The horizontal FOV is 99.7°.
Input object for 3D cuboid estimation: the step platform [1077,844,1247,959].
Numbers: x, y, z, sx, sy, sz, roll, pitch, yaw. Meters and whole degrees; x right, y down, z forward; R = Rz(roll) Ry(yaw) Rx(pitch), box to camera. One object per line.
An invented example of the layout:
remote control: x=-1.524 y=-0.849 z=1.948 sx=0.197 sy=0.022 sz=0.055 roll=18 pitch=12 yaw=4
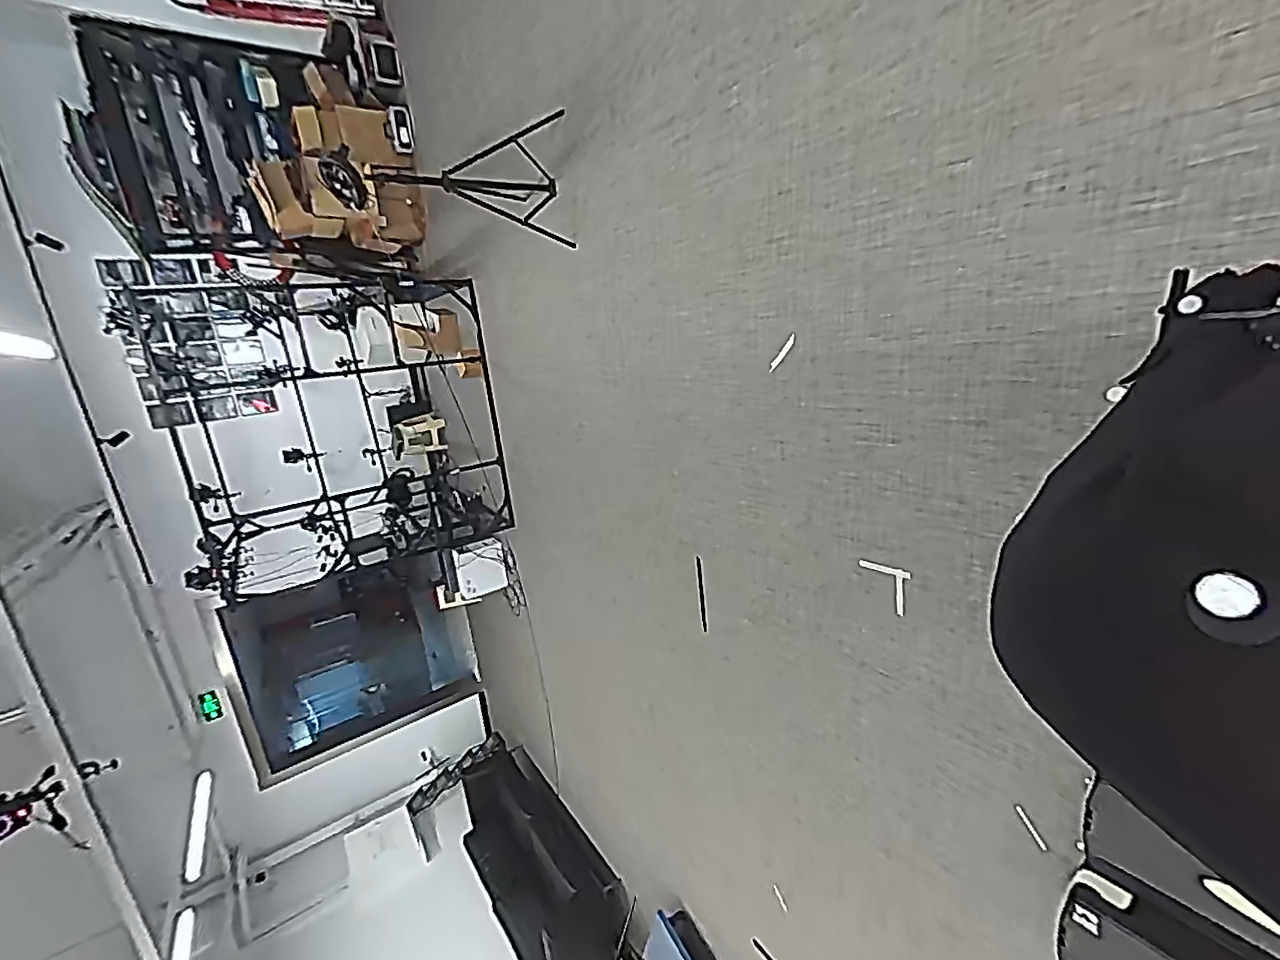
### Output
step platform: x=1.318 y=1.108 z=1.088 sx=0.684 sy=0.204 sz=0.286 roll=15 pitch=115 yaw=56
